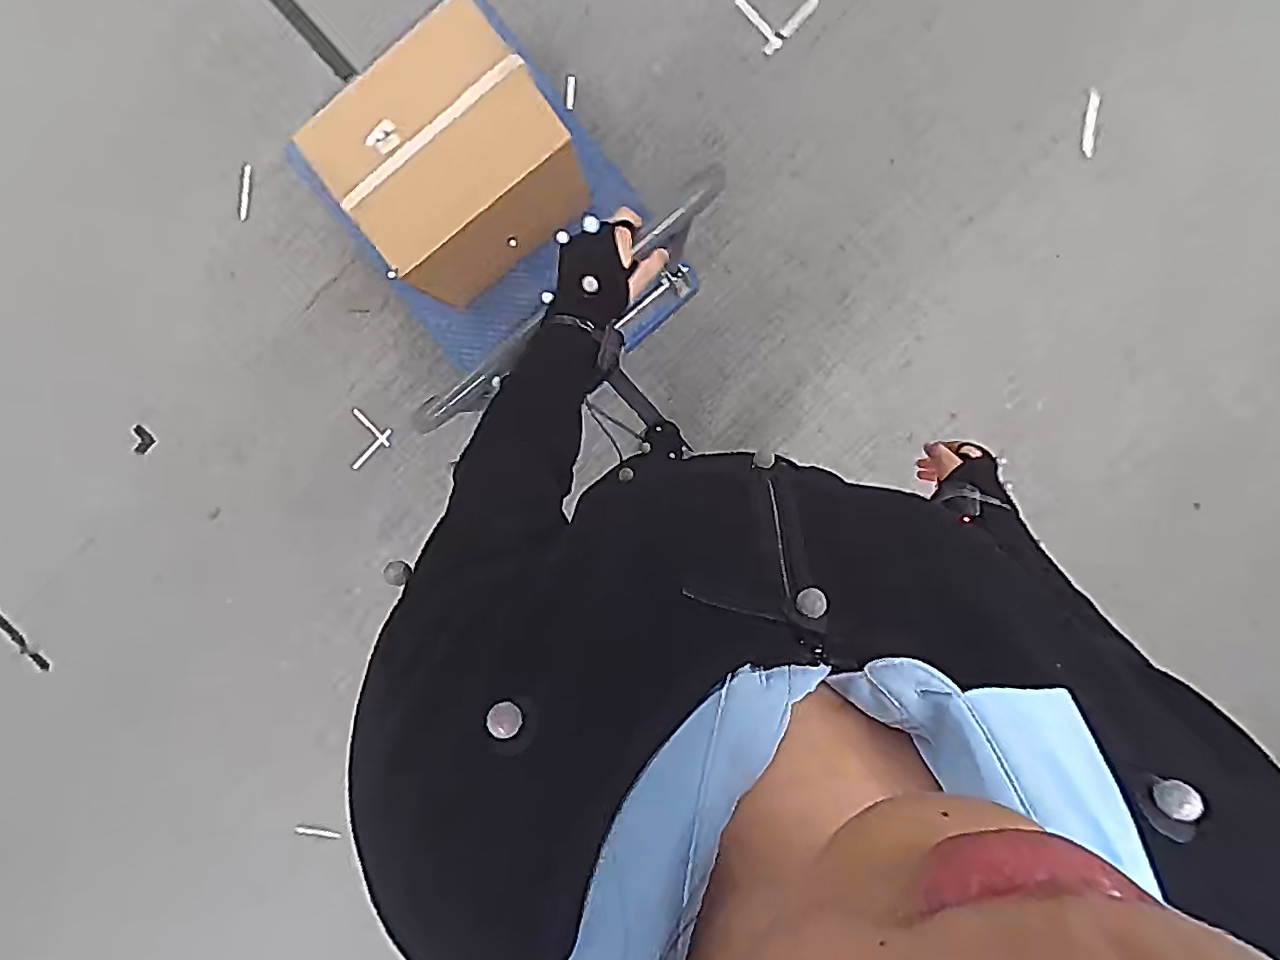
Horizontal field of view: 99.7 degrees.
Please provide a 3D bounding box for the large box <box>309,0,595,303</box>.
[{"bbox_3d":[-0.352,-0.638,1.122,0.408,0.320,0.320,-36,93,6],"label":"large box"}]
